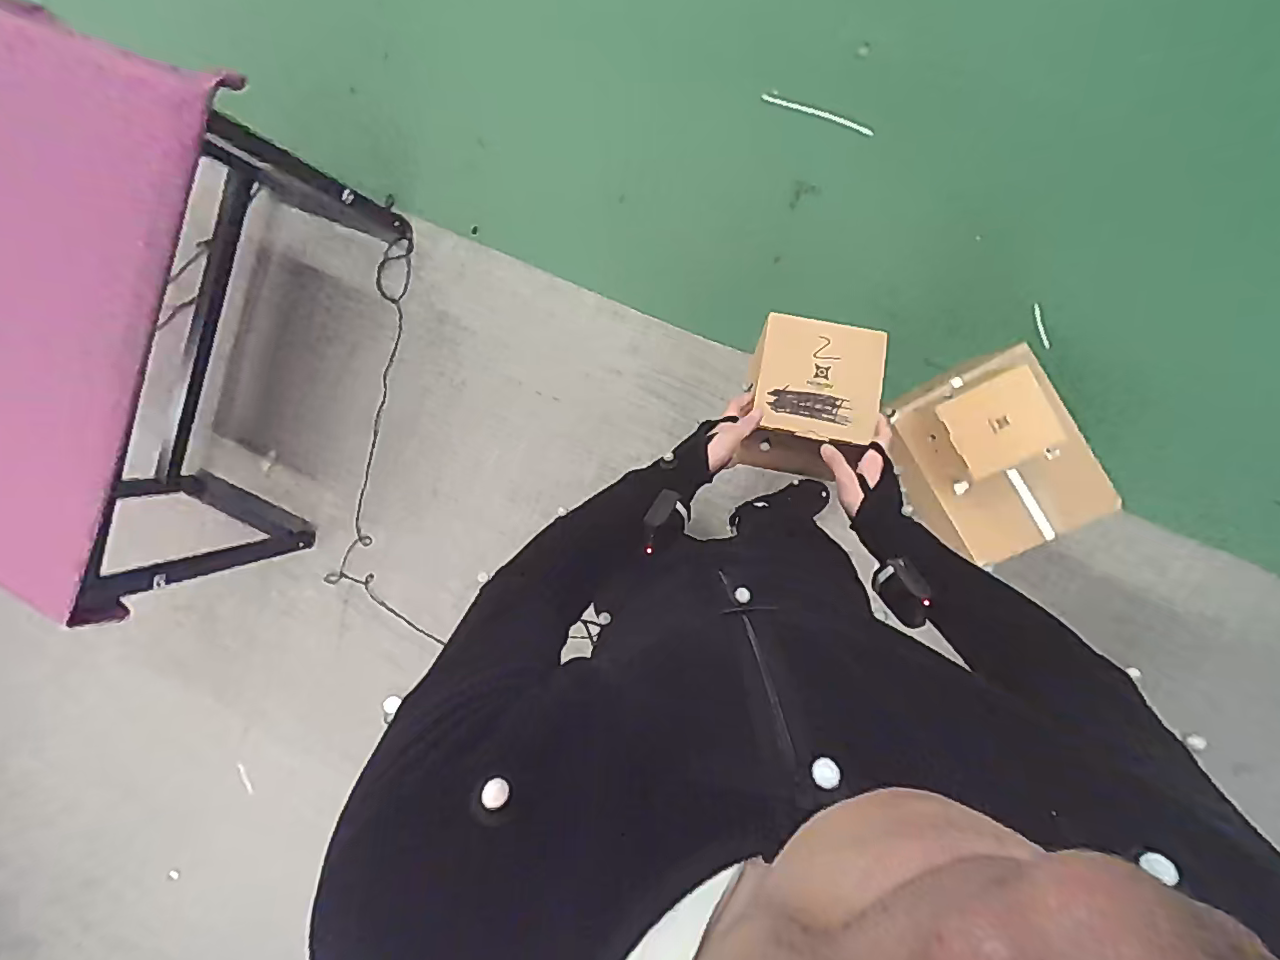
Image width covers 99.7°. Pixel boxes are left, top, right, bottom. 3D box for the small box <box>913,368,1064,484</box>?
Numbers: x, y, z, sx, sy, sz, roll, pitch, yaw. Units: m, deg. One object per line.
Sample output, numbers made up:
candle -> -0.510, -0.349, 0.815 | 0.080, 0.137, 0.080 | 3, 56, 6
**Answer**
small box -> 0.696, -0.111, 1.103 | 0.179, 0.176, 0.168 | -29, 90, 14
